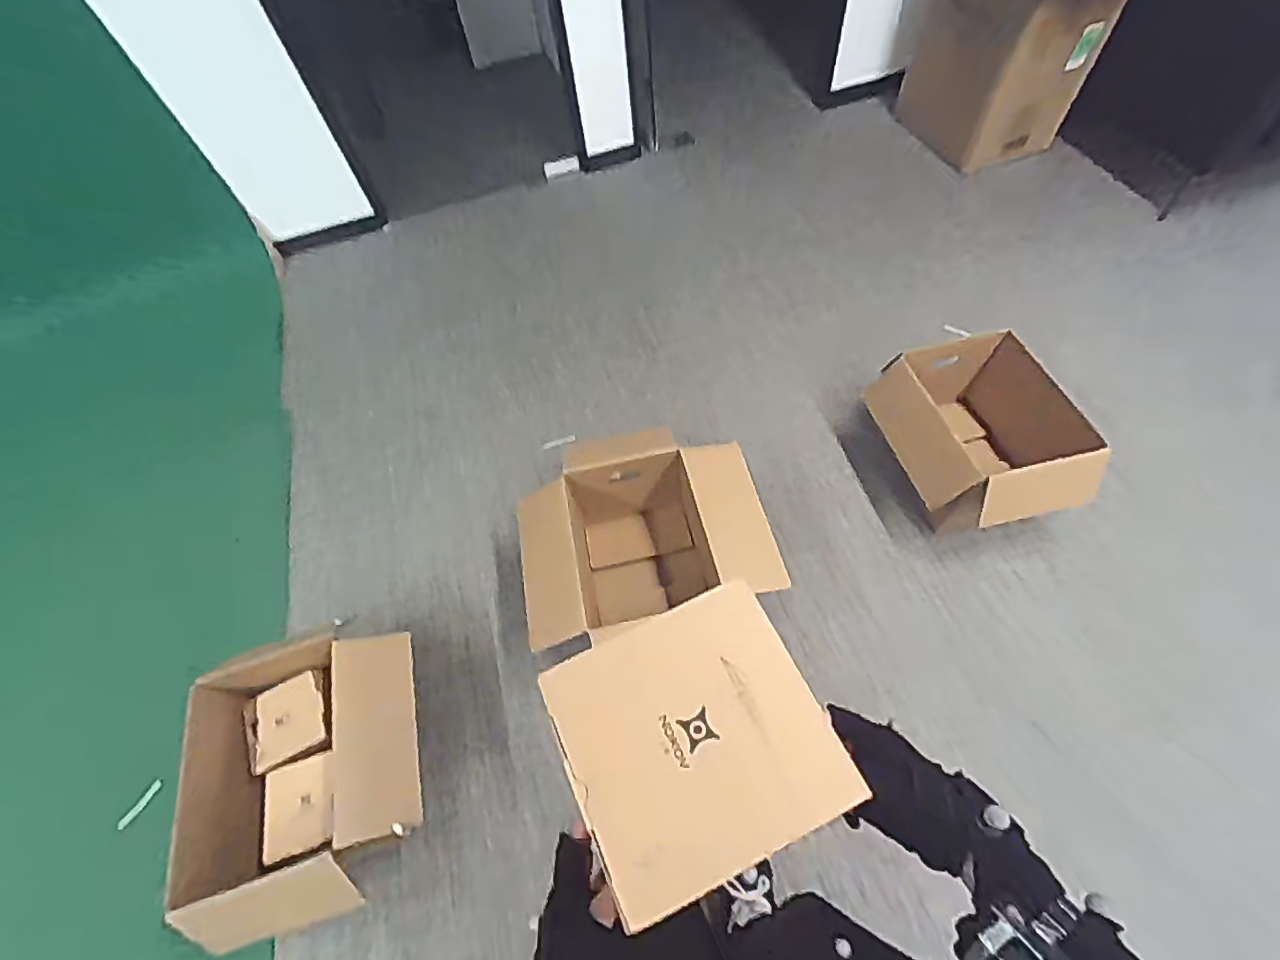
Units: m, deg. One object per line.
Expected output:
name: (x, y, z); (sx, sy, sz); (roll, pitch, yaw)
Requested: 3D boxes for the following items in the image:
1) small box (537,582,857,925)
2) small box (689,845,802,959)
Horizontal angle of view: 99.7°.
small box: (0.039, 0.213, 0.446); (0.179, 0.176, 0.168); (-24, 64, -8)
small box: (0.211, 0.834, 1.080); (0.168, 0.176, 0.179); (12, 33, 42)
